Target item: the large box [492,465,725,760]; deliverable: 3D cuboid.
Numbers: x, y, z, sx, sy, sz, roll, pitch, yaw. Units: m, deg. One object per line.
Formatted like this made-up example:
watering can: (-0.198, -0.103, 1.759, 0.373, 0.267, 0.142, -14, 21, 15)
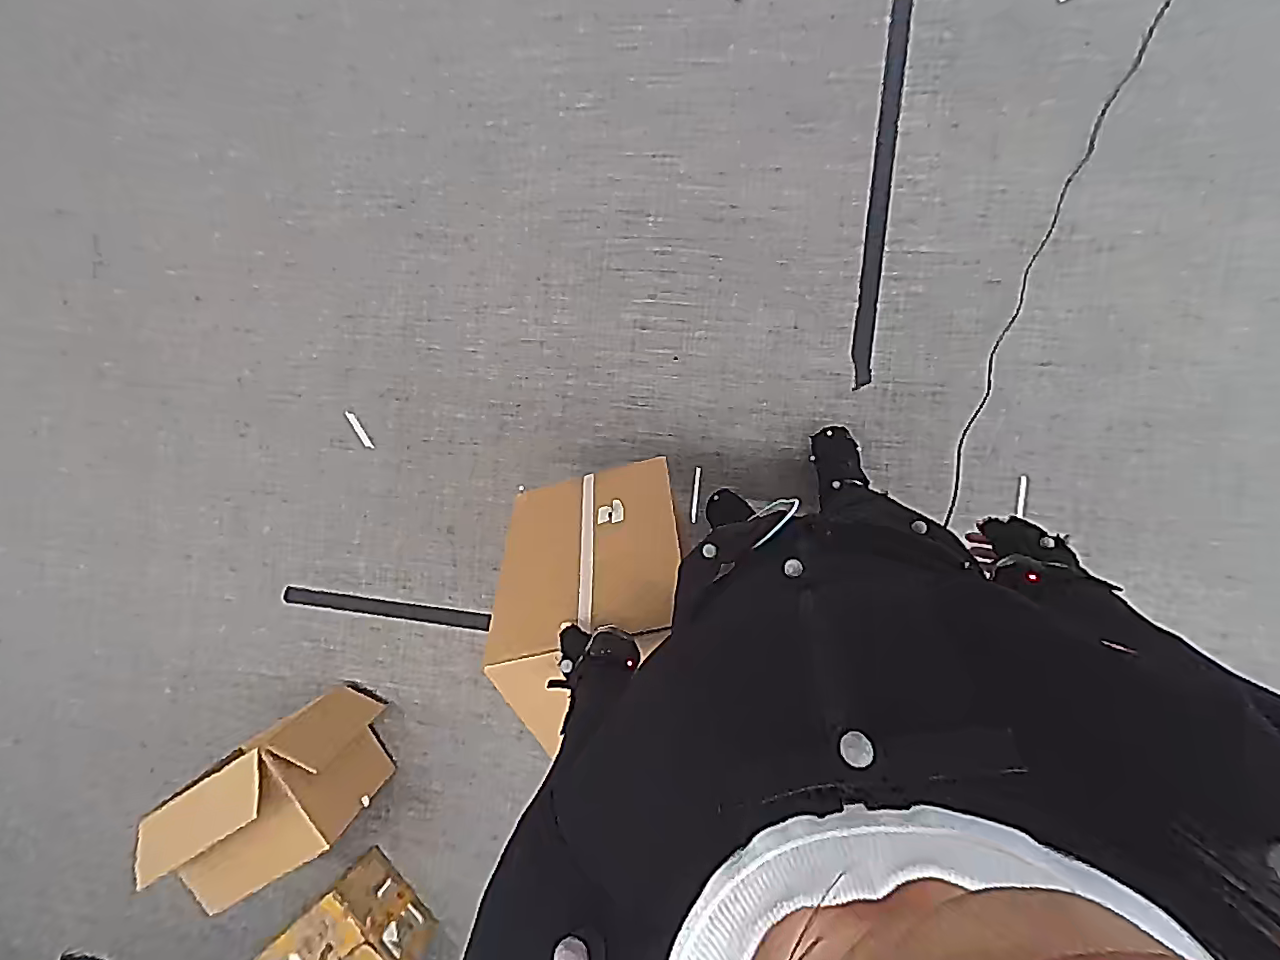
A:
large box: (-0.046, 0.235, 1.016, 0.320, 0.408, 0.320, -12, 126, 6)
